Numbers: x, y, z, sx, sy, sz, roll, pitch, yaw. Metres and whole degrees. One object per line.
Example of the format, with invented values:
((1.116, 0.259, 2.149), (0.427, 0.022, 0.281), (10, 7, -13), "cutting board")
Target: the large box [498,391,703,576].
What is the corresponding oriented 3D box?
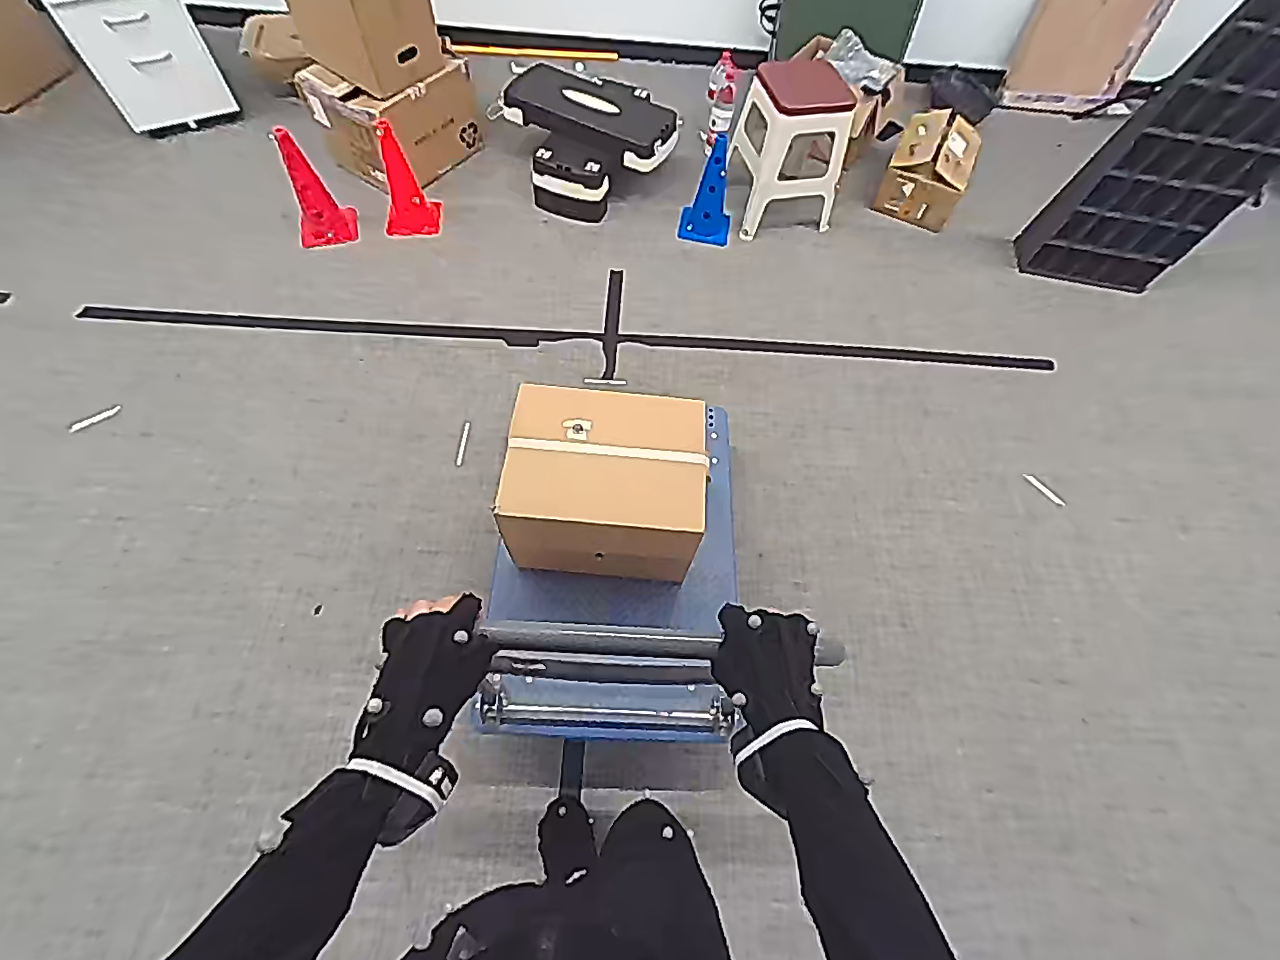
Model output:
((-0.075, 0.021, 1.244), (0.408, 0.320, 0.320), (5, 62, -1), "large box")
